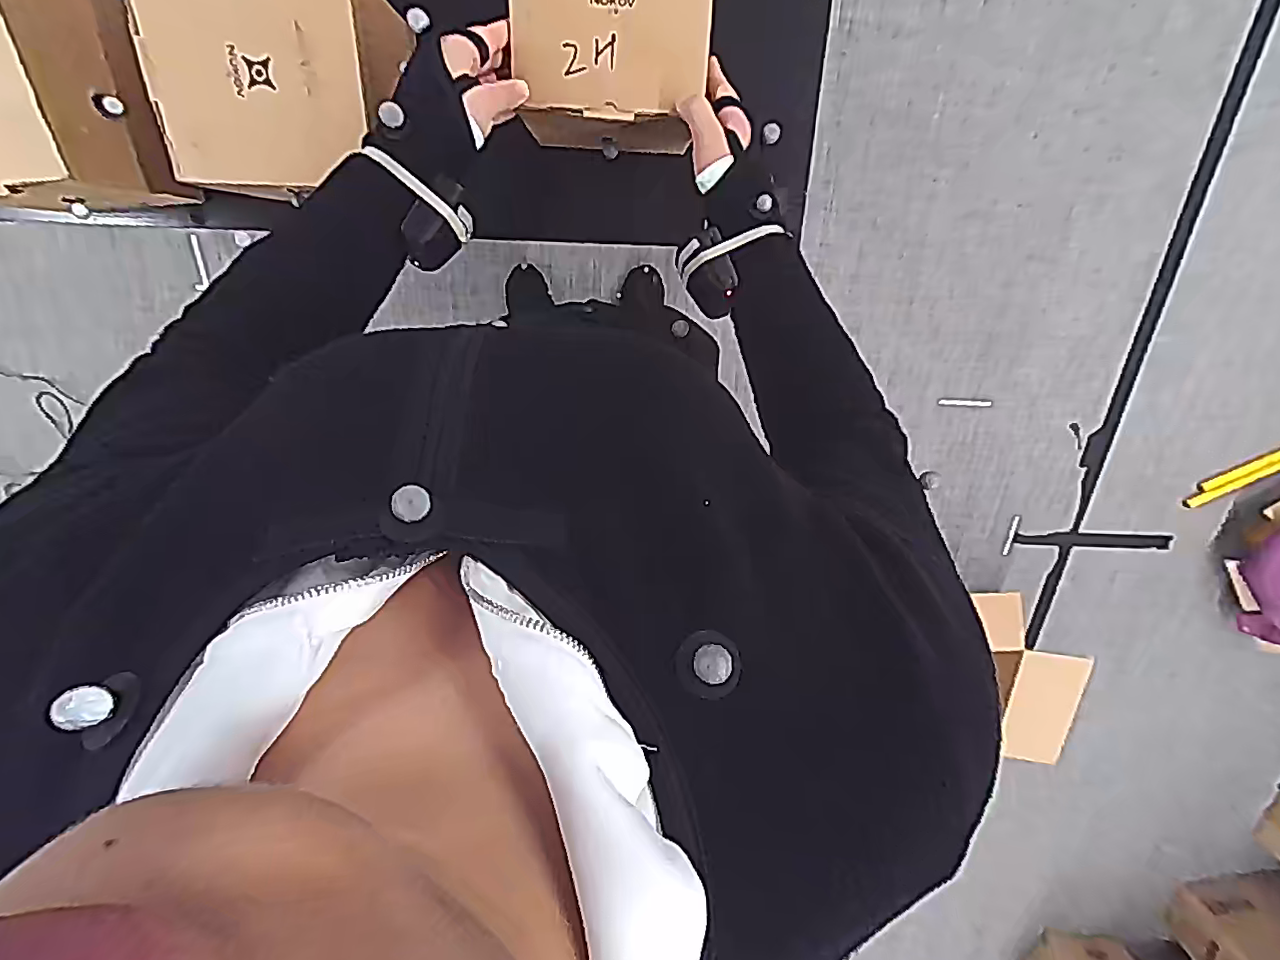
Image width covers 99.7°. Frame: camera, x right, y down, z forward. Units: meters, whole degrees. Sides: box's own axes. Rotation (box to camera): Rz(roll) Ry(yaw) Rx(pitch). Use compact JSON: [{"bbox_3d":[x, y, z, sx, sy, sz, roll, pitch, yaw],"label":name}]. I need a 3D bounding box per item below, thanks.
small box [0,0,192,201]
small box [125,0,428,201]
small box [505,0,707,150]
[{"bbox_3d":[-0.581,-0.366,0.507,0.168,0.176,0.179,-5,113,-1],"label":"small box"},{"bbox_3d":[-0.324,-0.369,0.518,0.179,0.176,0.168,1,112,-3],"label":"small box"},{"bbox_3d":[-0.030,-0.429,0.505,0.168,0.176,0.179,2,112,-2],"label":"small box"}]
